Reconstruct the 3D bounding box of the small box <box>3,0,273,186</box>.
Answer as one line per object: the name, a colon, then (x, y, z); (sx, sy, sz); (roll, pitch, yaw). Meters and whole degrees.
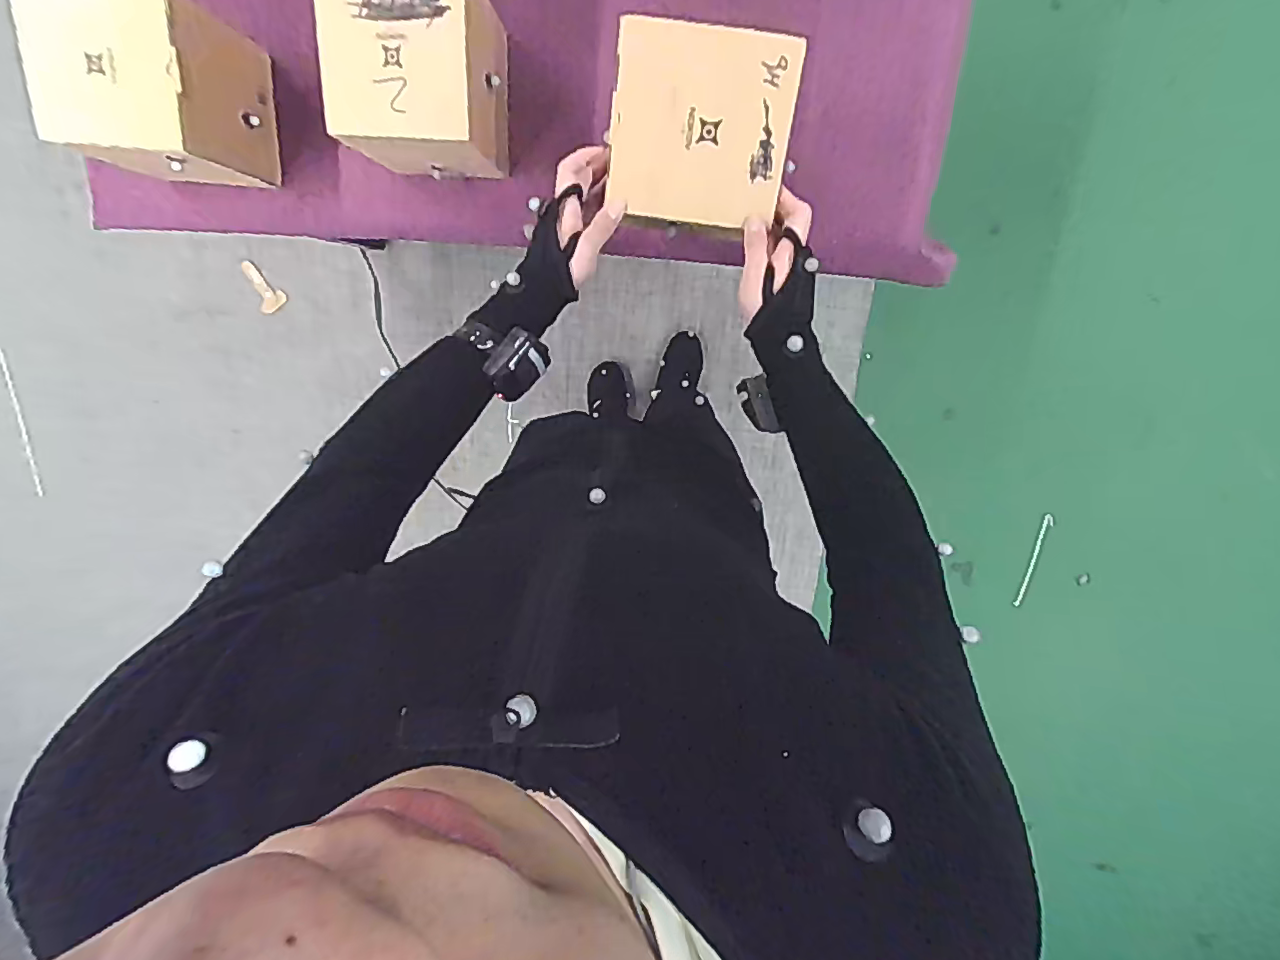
small box: (-0.603, -0.480, 0.672); (0.179, 0.176, 0.168); (4, 106, 0)
